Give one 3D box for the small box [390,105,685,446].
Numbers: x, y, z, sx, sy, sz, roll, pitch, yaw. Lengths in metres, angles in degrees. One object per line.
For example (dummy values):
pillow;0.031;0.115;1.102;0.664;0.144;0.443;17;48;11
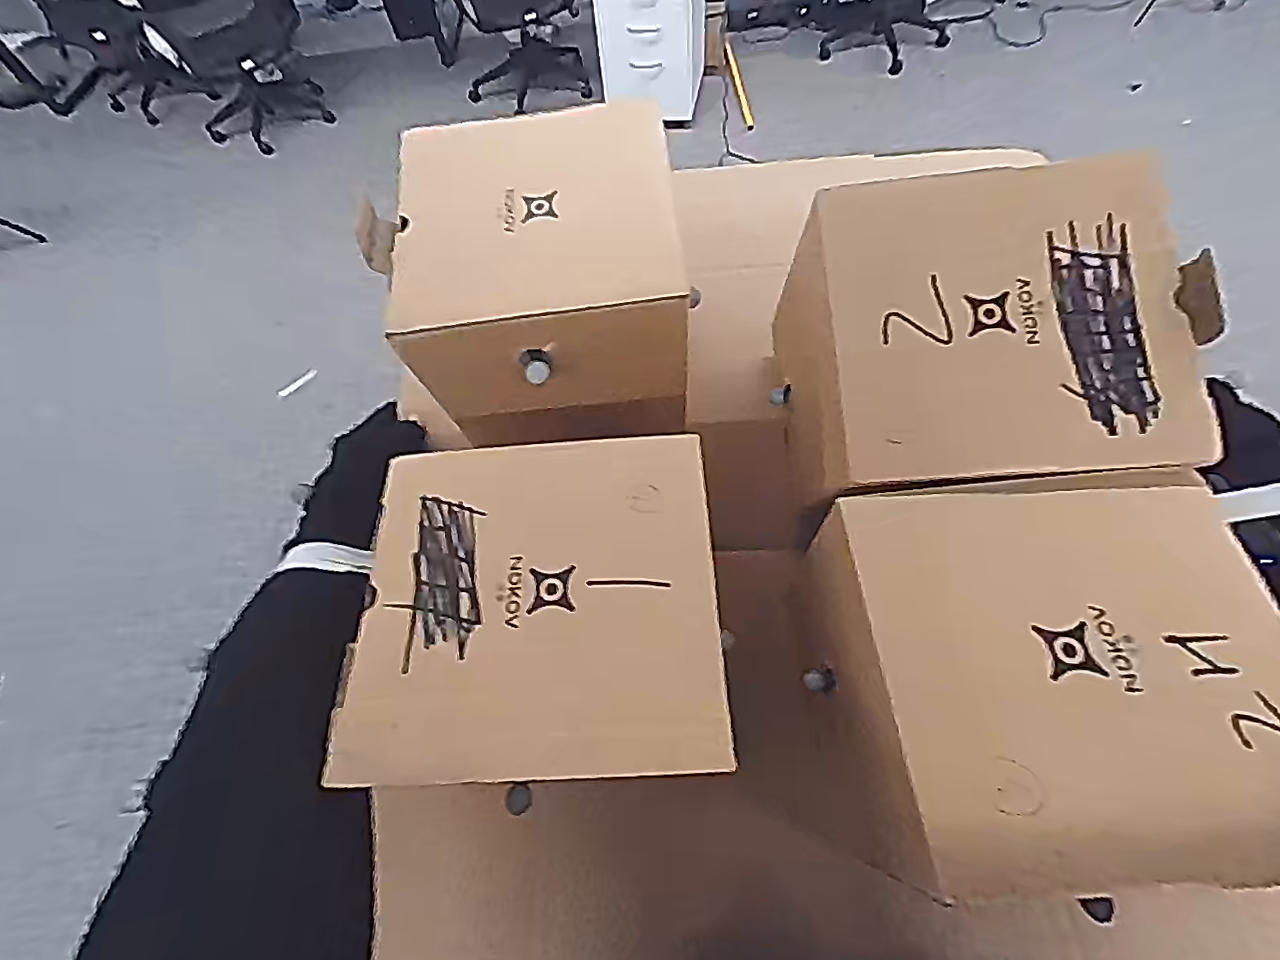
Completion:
small box;-0.061;-0.139;0.415;0.179;0.176;0.168;-7;68;3
